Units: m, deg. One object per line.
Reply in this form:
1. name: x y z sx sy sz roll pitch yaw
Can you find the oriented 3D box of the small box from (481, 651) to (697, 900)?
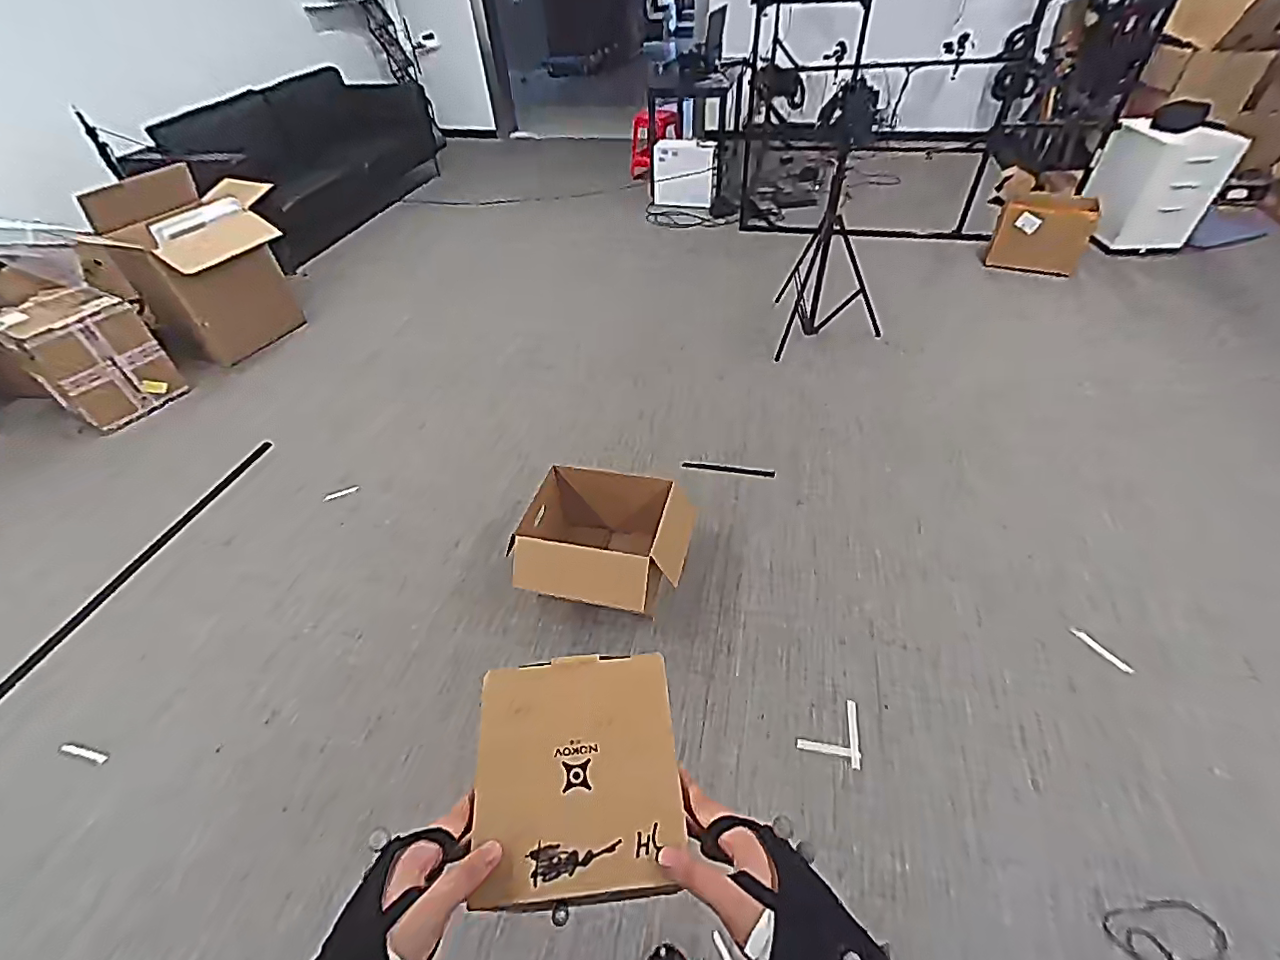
1. small box: -0.044 0.284 0.518 0.168 0.176 0.179 -5 52 -3
